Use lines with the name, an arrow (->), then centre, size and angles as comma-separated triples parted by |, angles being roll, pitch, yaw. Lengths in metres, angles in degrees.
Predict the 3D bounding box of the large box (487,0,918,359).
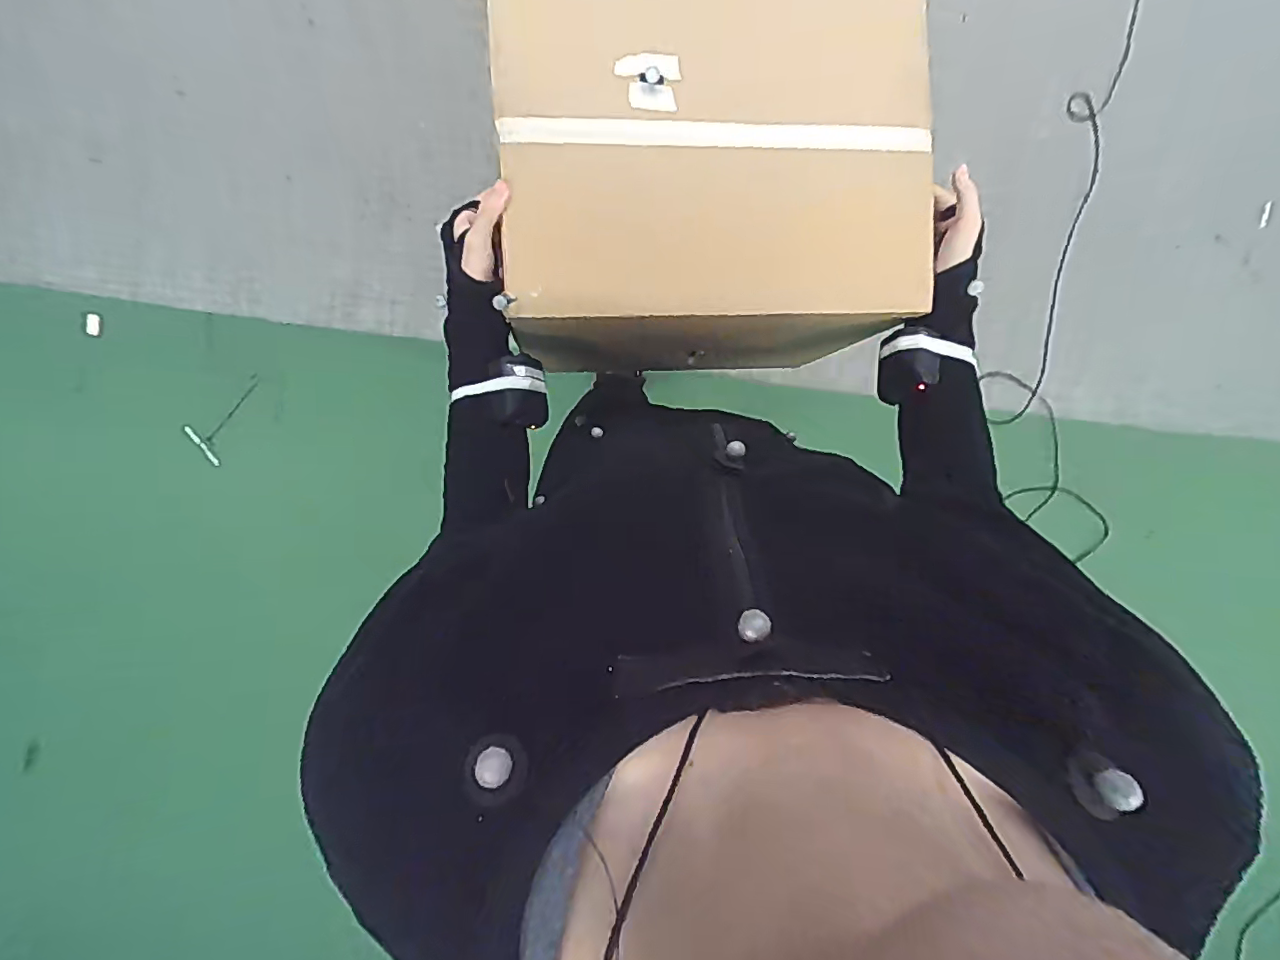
large box -> 0.055, -0.326, 0.647 | 0.408, 0.320, 0.320 | -3, 93, -6
